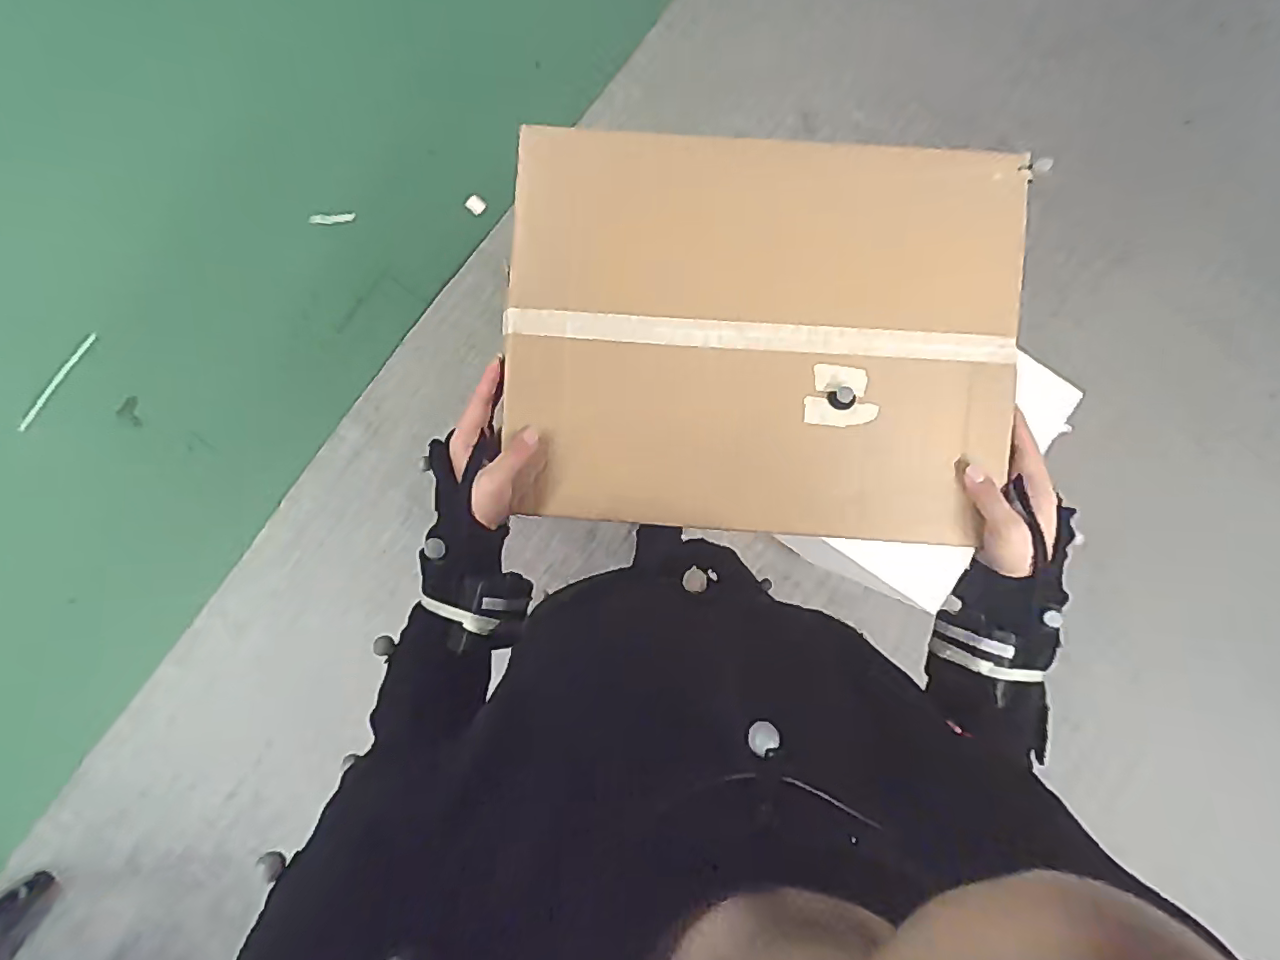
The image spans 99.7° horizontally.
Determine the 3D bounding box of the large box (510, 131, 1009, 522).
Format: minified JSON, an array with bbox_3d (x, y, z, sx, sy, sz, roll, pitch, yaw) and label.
[{"bbox_3d":[0.095,-0.126,0.587,0.408,0.320,0.320,3,92,0],"label":"large box"}]
